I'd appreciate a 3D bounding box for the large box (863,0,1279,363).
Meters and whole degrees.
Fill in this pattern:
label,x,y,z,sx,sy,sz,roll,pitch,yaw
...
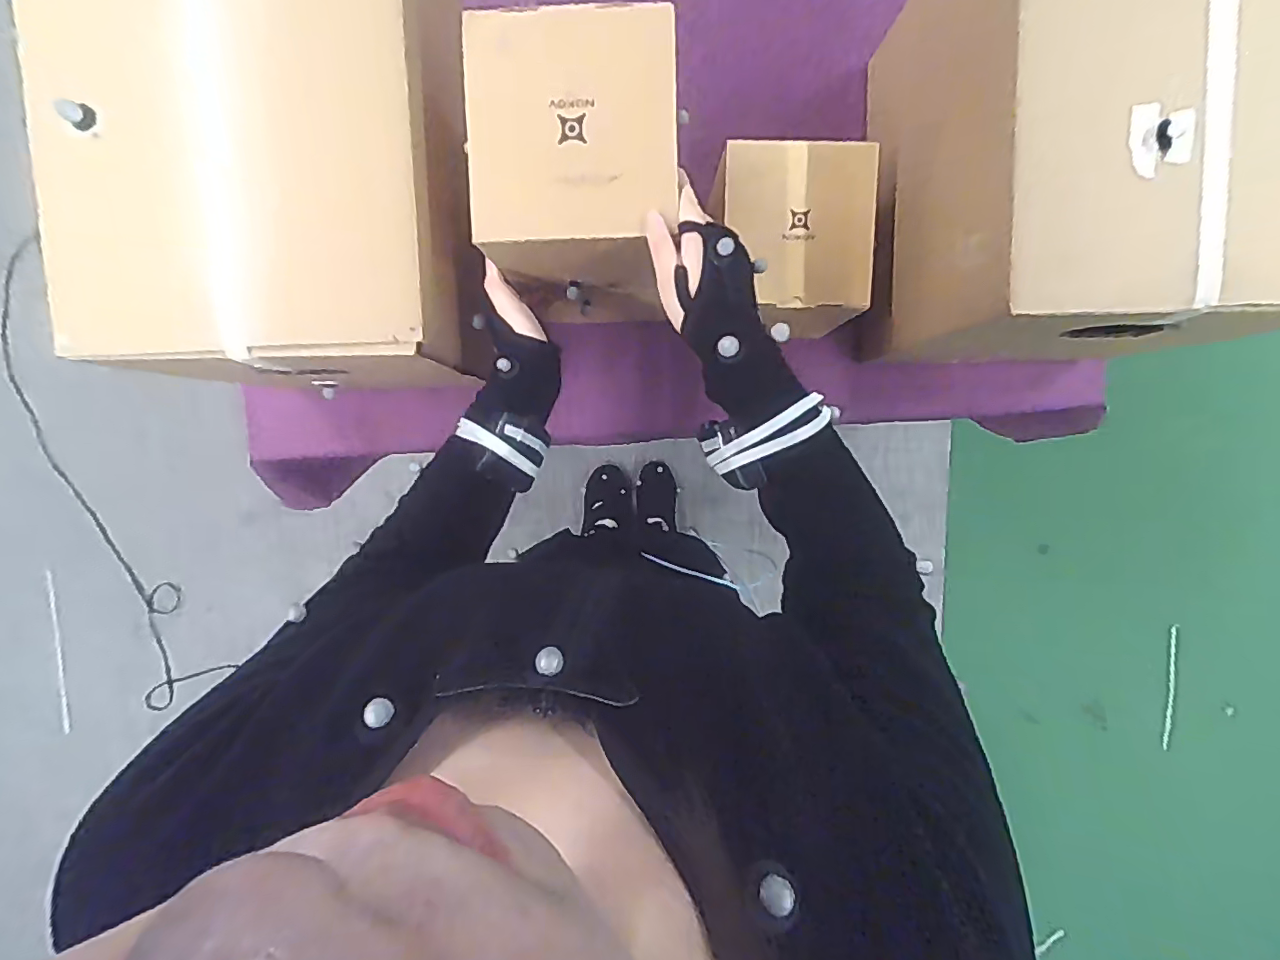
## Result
label,x,y,z,sx,sy,sz,roll,pitch,yaw
large box,0.463,-0.352,0.603,0.320,0.320,0.408,0,95,0
